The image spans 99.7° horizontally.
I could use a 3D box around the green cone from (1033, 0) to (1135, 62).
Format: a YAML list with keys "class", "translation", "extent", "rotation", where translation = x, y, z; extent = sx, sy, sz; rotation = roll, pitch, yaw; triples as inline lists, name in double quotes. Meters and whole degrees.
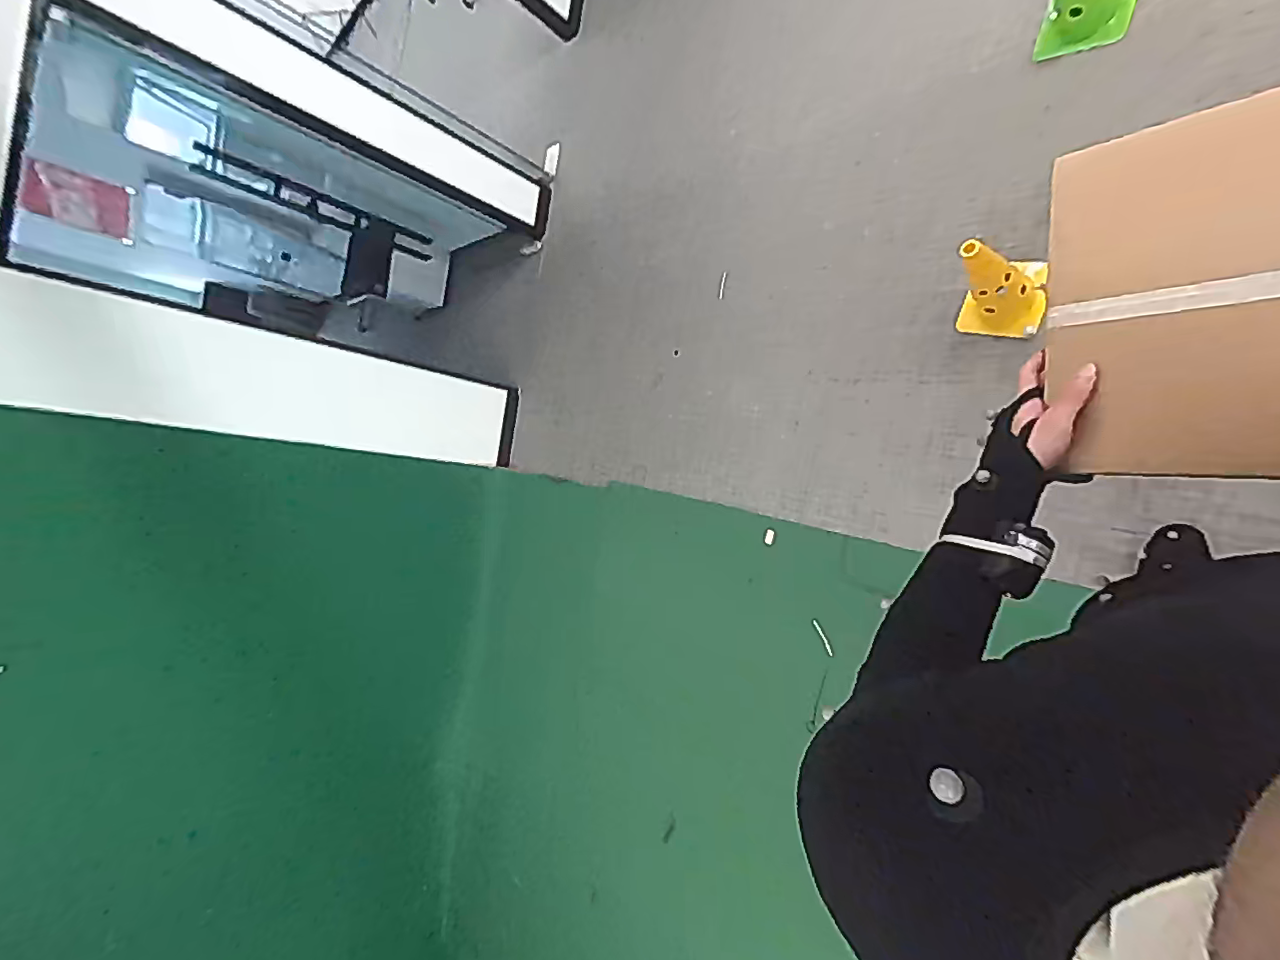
- class: "green cone"
  translation: [1.045, -1.239, 1.297]
  extent: [0.200, 0.368, 0.202]
  rotation: [19, 99, 46]

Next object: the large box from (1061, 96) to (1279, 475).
- class: "large box"
  translation: [0.672, -0.163, 0.507]
  extent: [0.408, 0.320, 0.320]
  rotation: [2, 94, 47]
